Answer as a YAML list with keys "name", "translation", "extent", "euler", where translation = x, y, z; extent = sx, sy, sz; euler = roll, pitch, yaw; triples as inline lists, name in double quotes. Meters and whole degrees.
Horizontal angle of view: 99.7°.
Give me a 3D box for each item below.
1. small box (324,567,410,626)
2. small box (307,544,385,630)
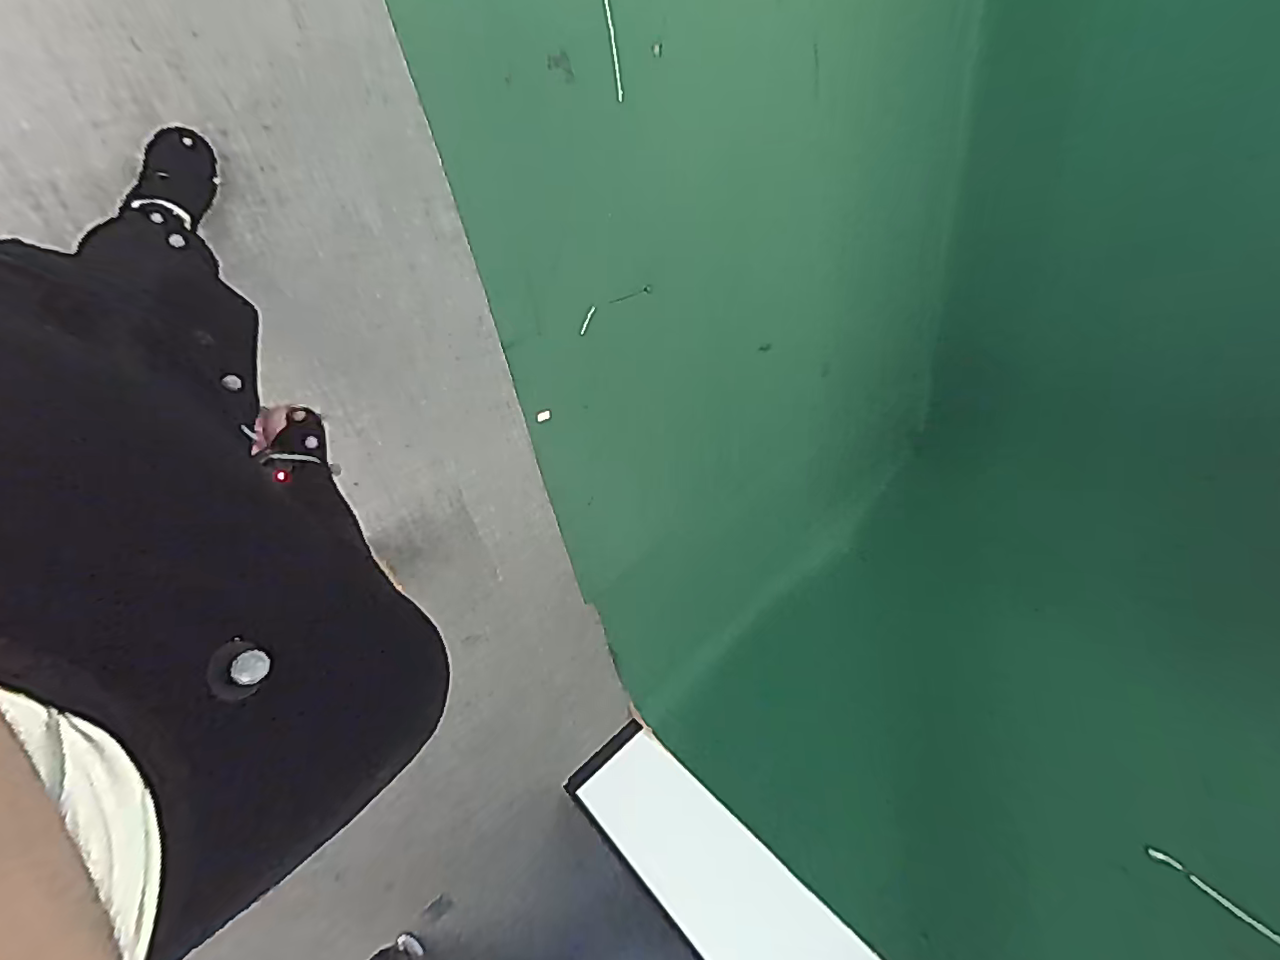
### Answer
- name: "small box"
  translation: [-0.734, 0.360, 1.476]
  extent: [0.168, 0.176, 0.179]
  euler: [-28, 125, -31]
- name: "small box"
  translation: [-0.843, 0.314, 1.589]
  extent: [0.179, 0.176, 0.168]
  euler: [-27, 125, -31]
